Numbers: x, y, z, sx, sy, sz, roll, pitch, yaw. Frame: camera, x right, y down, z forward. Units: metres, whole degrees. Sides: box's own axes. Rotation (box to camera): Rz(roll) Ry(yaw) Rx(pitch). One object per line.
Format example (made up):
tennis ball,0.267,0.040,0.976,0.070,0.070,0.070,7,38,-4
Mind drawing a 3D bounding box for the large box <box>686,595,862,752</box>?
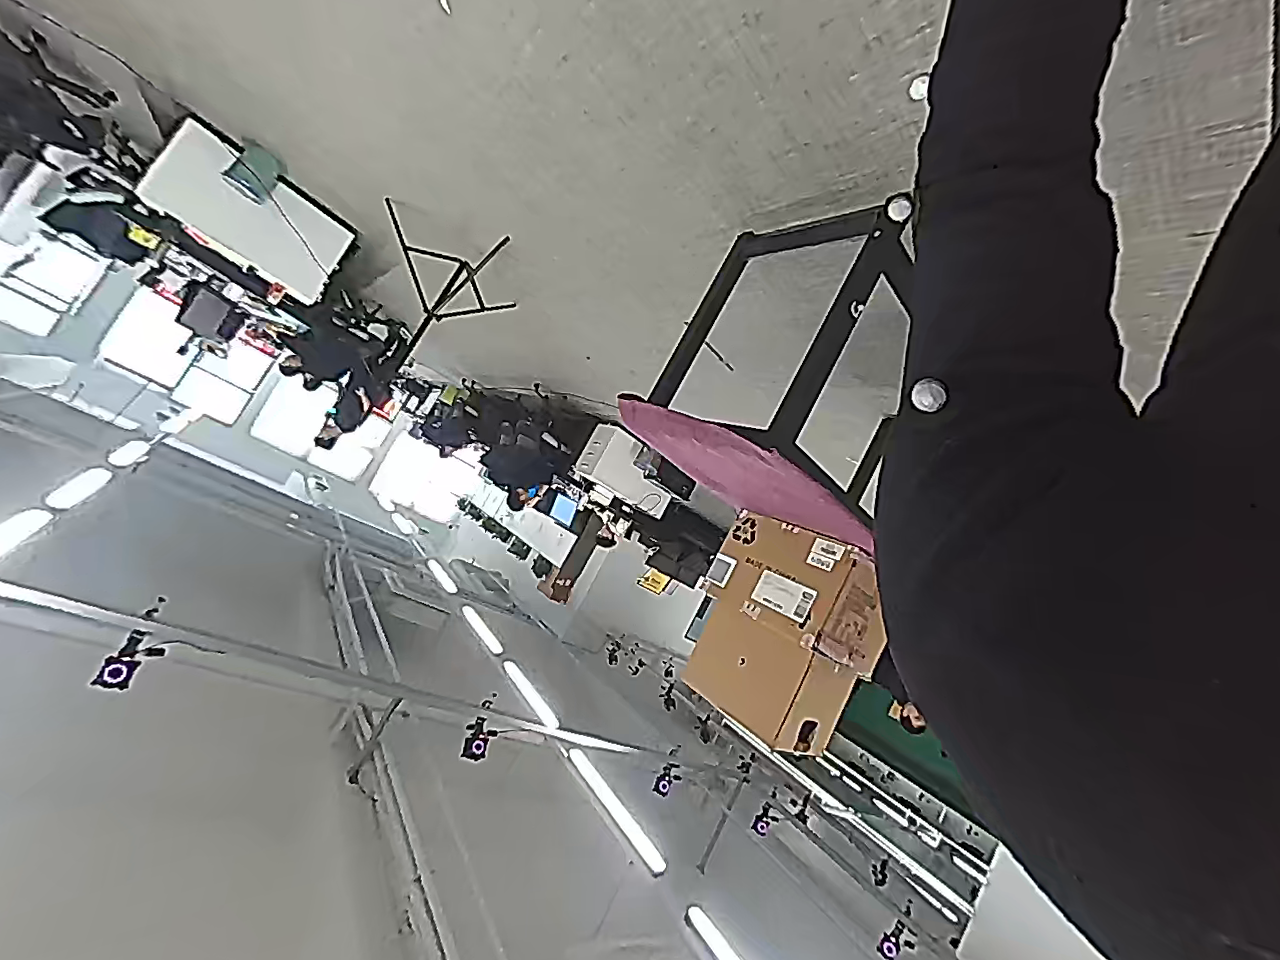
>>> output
large box,0.432,0.619,1.773,0.320,0.320,0.408,29,174,-37
